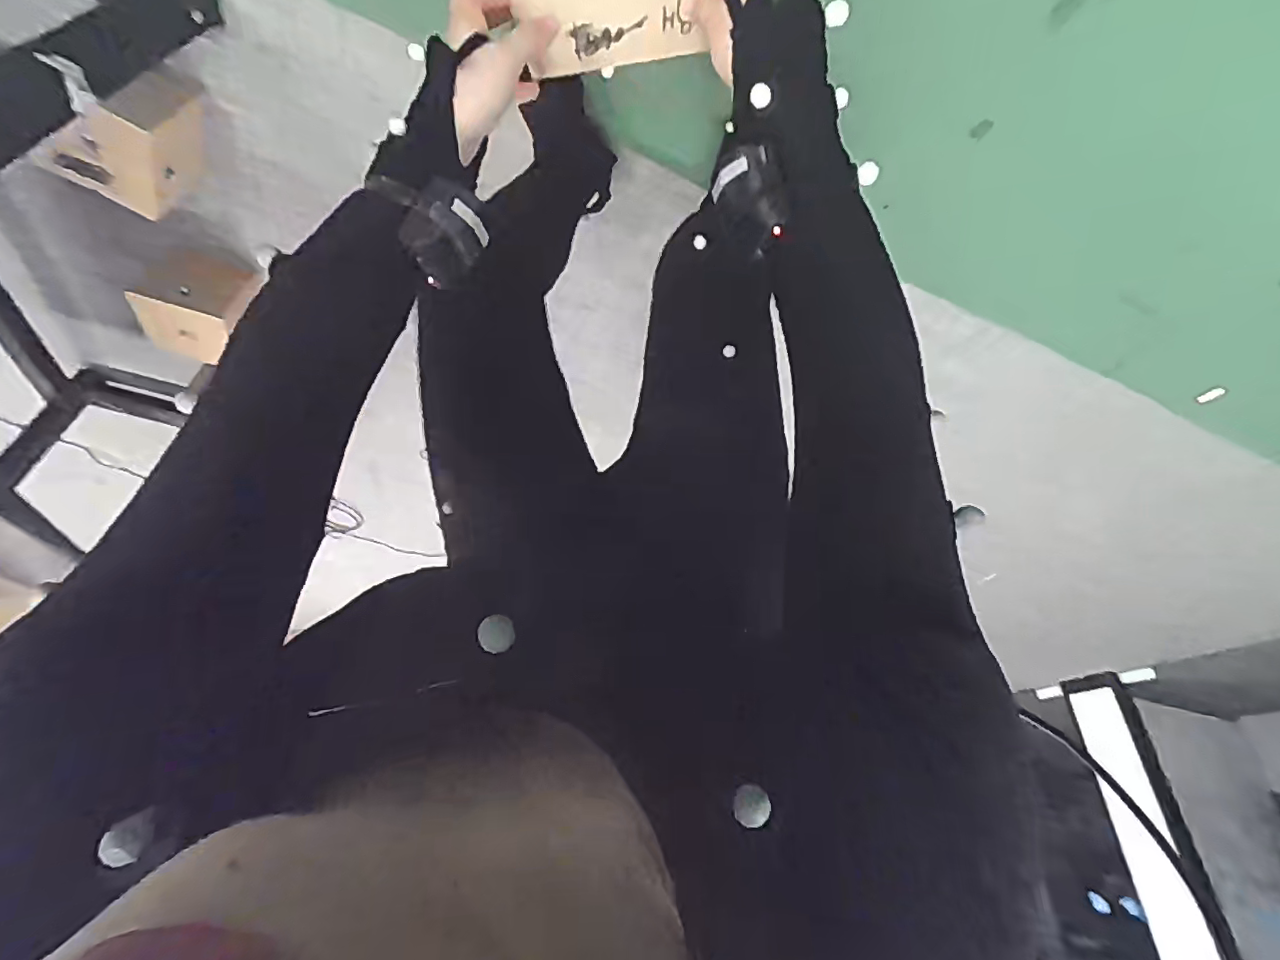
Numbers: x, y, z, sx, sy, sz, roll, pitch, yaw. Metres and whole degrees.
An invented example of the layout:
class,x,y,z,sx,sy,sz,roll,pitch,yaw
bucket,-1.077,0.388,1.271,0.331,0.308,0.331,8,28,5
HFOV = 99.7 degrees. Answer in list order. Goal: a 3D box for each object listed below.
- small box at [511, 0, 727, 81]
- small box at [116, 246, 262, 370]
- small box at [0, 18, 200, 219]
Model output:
class,x,y,z,sx,sy,sz,roll,pitch,yaw
small box,-0.017,-0.468,0.437,0.168,0.176,0.179,3,148,14
small box,-0.961,-0.375,1.178,0.179,0.176,0.168,16,144,-14
small box,-0.843,-0.574,0.866,0.168,0.176,0.179,25,140,-27
